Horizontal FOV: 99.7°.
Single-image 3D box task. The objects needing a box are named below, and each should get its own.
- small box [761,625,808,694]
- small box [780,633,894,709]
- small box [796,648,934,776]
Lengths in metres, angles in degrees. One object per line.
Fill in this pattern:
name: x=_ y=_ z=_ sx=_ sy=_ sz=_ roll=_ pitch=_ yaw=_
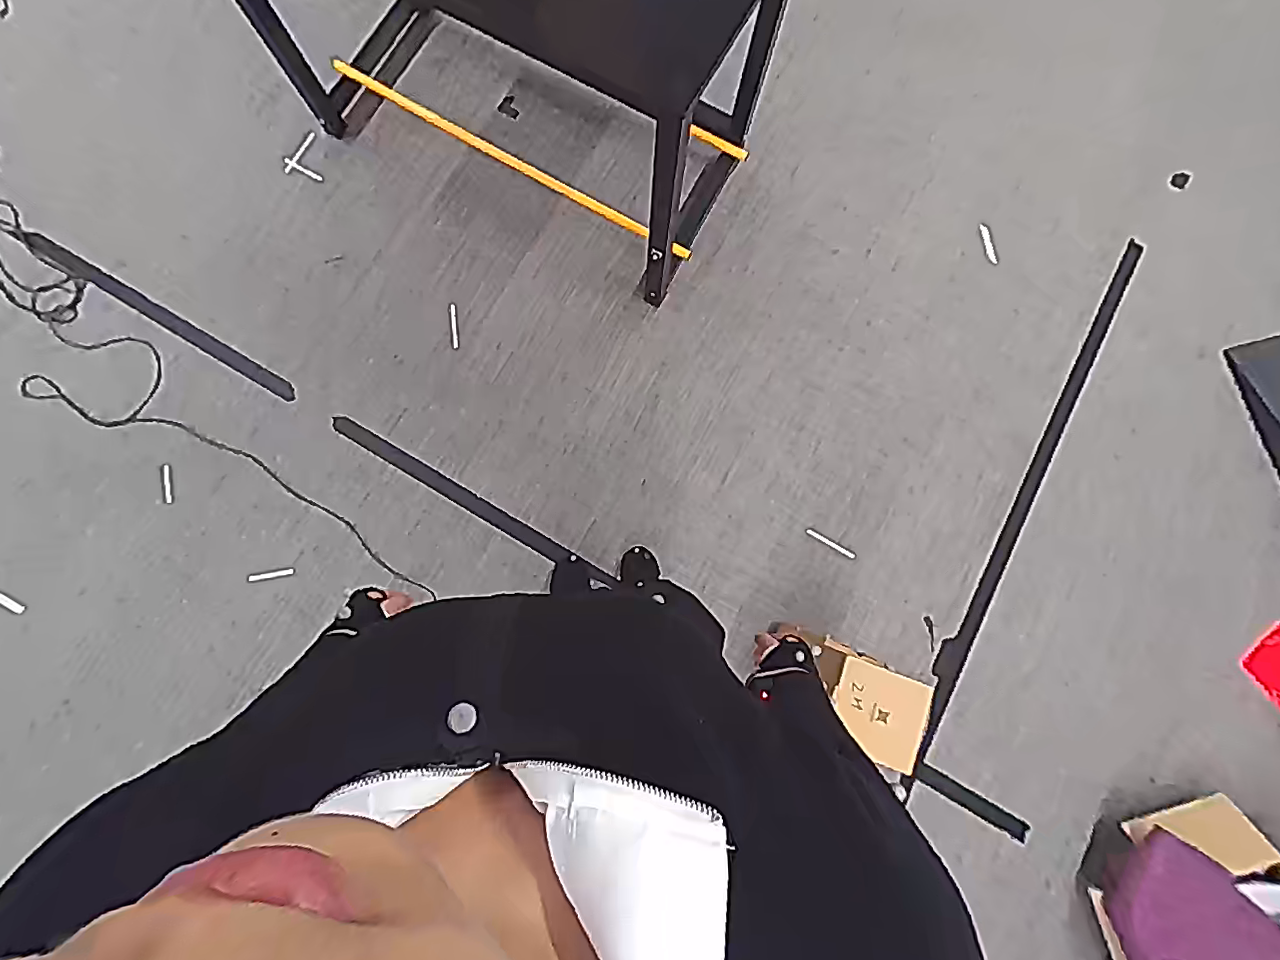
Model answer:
small box: x=0.436 y=0.487 z=1.402 sx=0.179 sy=0.176 sz=0.168 roll=22 pitch=80 yaw=3
small box: x=0.440 y=0.467 z=1.239 sx=0.168 sy=0.176 sz=0.179 roll=25 pitch=81 yaw=3
small box: x=0.437 y=0.447 z=1.075 sx=0.179 sy=0.176 sz=0.168 roll=21 pitch=80 yaw=2
